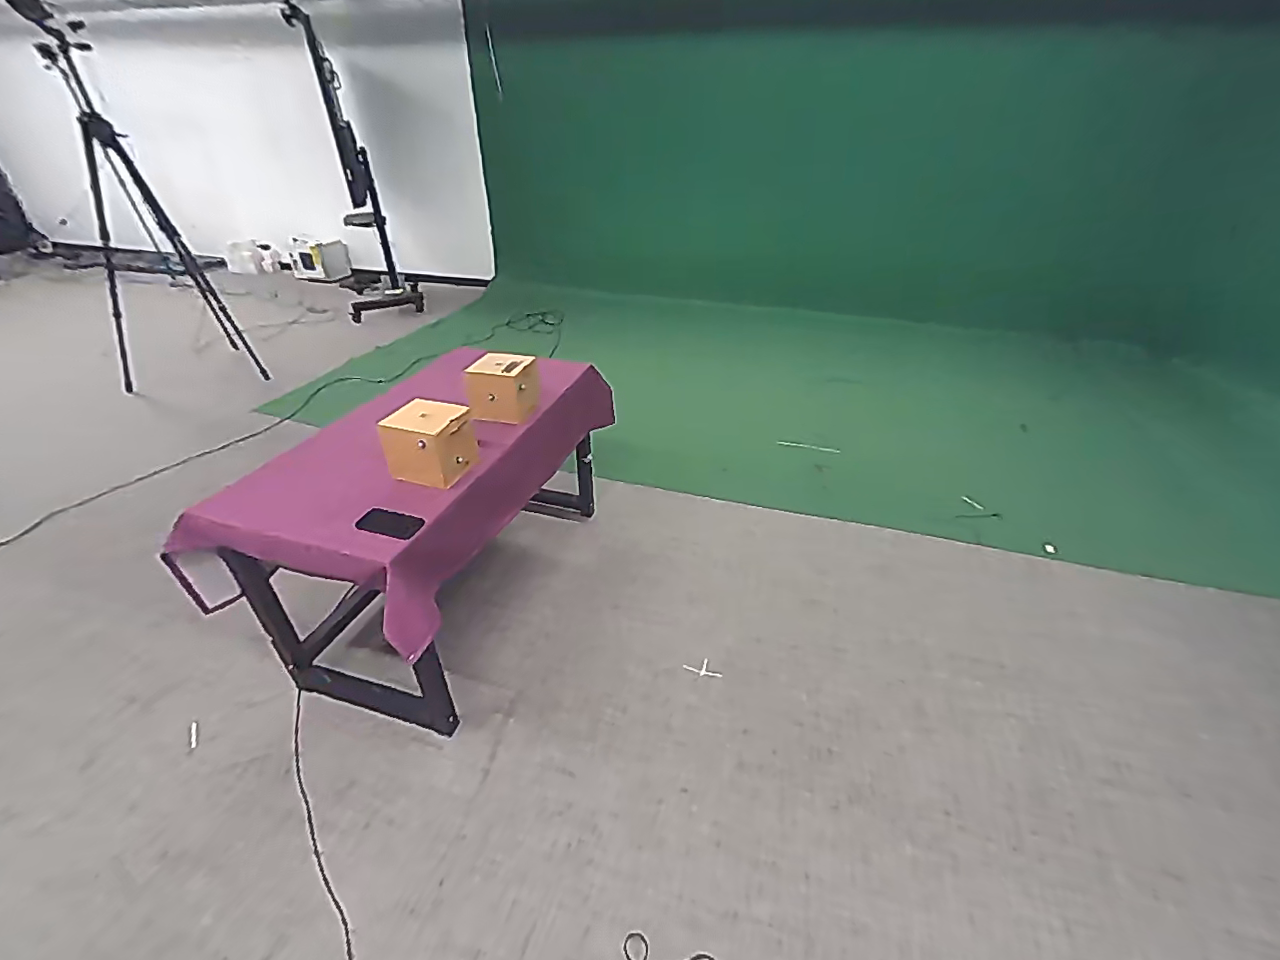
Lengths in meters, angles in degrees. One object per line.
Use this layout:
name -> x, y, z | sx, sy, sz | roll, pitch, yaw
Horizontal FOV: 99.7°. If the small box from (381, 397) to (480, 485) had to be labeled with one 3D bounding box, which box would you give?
small box -> -0.556, -0.105, 1.460 | 0.179, 0.176, 0.168 | 12, 35, 14
